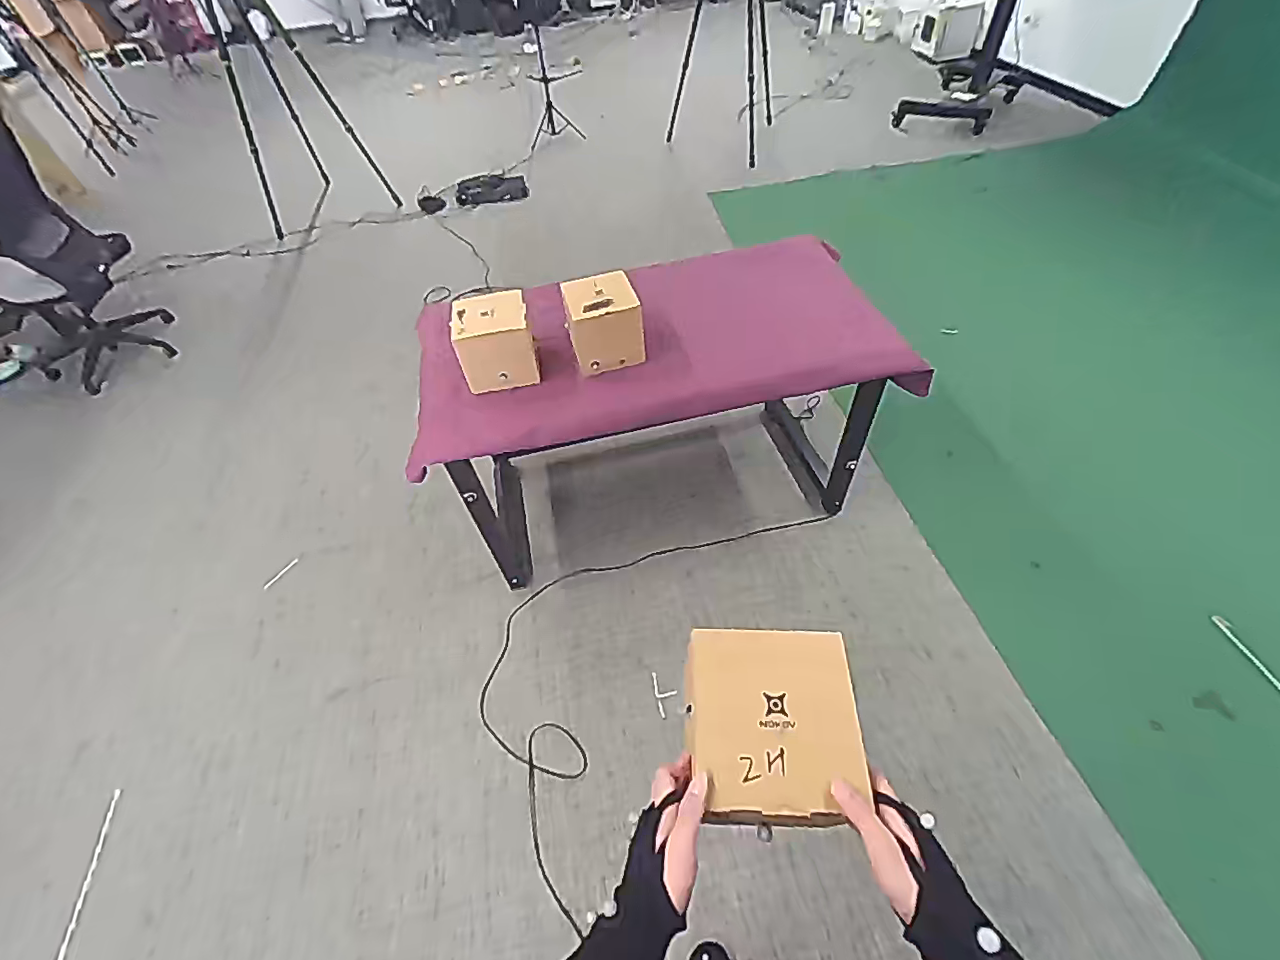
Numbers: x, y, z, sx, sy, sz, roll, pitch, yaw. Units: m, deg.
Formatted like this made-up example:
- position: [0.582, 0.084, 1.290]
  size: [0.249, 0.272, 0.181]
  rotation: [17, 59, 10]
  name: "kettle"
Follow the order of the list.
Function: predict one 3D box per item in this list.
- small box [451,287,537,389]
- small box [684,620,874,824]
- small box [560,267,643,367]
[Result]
- position: [-0.353, -0.348, 1.335]
  size: [0.179, 0.176, 0.168]
  rotation: [-10, 51, -5]
  name: "small box"
- position: [0.136, 0.273, 0.606]
  size: [0.168, 0.176, 0.179]
  rotation: [1, 55, 2]
  name: "small box"
- position: [-0.092, -0.402, 1.358]
  size: [0.168, 0.176, 0.179]
  rotation: [-14, 51, -8]
  name: "small box"
